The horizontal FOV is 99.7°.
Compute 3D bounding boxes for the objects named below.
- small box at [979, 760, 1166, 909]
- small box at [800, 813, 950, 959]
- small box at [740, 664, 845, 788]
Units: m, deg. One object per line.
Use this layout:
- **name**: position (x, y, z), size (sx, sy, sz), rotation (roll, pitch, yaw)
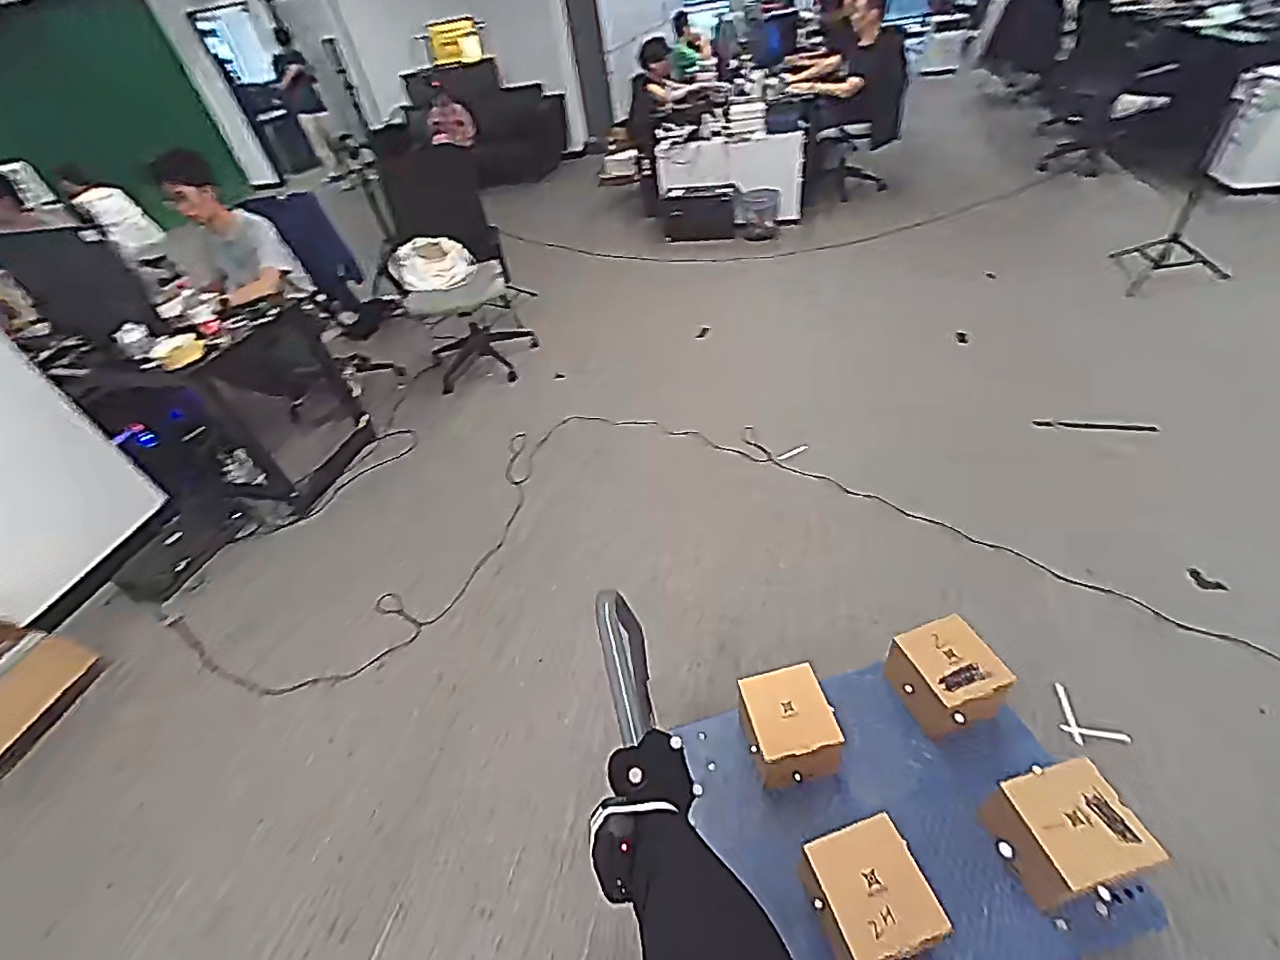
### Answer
- **small box**: position (0.759, 0.640, 0.975), size (0.179, 0.176, 0.168), rotation (-15, 42, -3)
- **small box**: position (0.396, 0.730, 0.949), size (0.168, 0.176, 0.179), rotation (-17, 42, -7)
- **small box**: position (0.320, 0.535, 1.178), size (0.168, 0.176, 0.179), rotation (-13, 44, -3)
